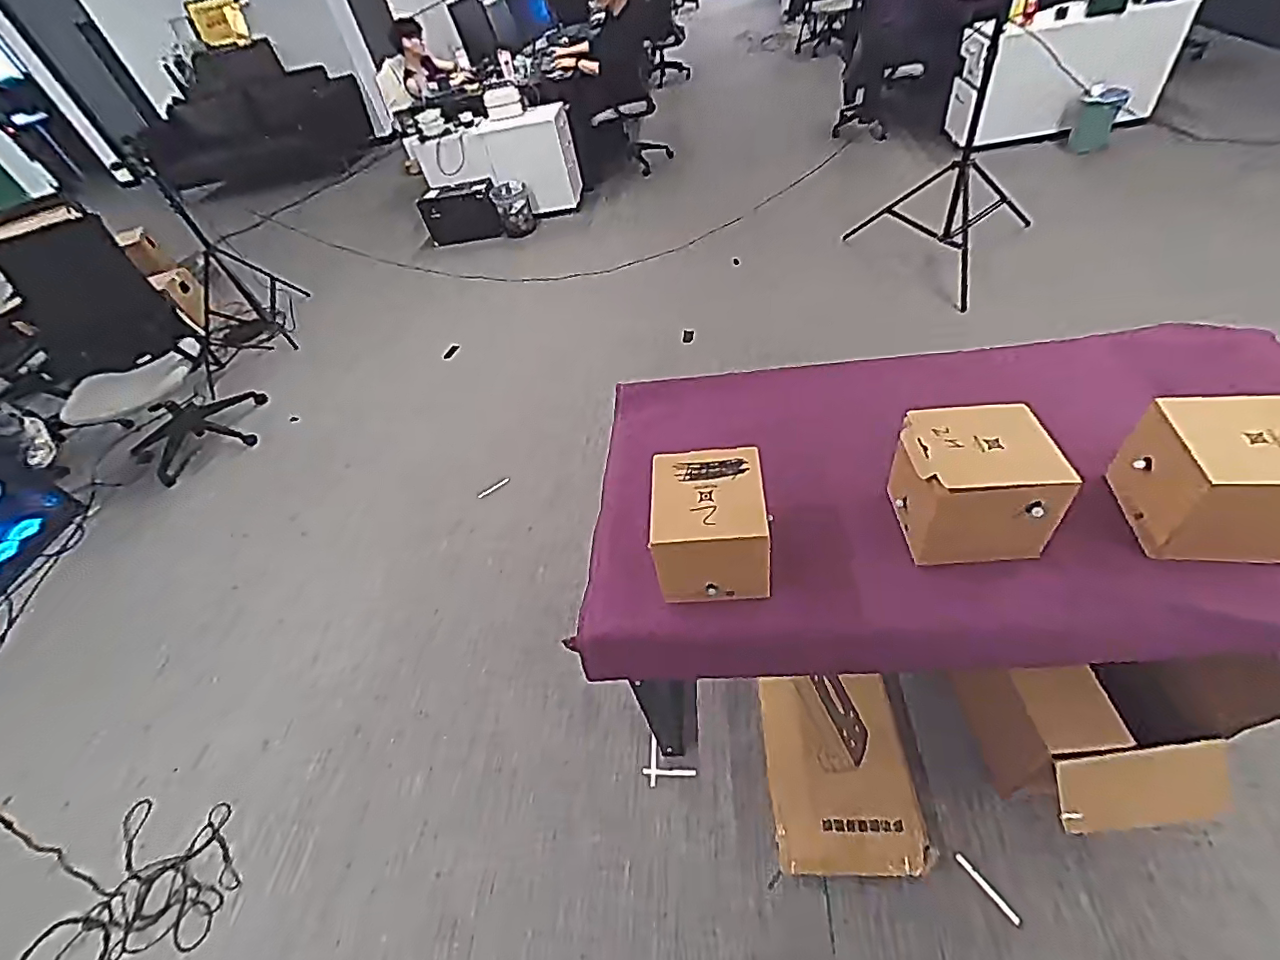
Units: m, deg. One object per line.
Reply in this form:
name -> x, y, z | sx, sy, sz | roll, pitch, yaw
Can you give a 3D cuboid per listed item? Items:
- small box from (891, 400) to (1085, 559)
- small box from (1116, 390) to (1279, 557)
small box -> 0.502, 0.003, 0.813 | 0.179, 0.176, 0.168 | -5, 45, 9
small box -> 0.814, -0.006, 0.750 | 0.179, 0.176, 0.168 | 0, 49, 13
